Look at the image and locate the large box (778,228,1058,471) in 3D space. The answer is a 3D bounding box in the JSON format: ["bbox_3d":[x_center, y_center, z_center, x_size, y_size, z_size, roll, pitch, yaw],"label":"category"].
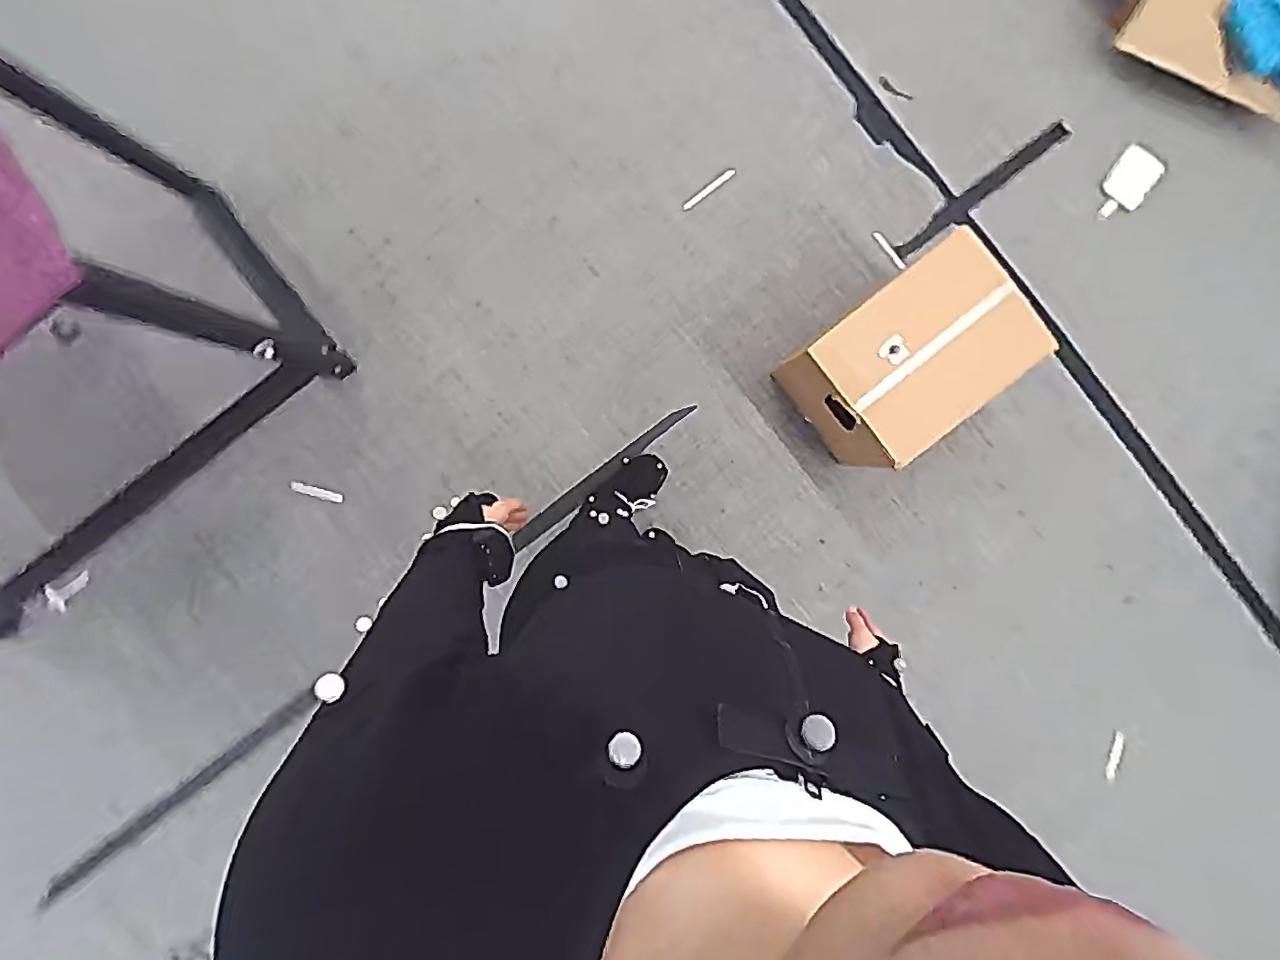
[{"bbox_3d":[0.591,-0.268,1.225,0.408,0.320,0.320,-39,91,2],"label":"large box"}]
